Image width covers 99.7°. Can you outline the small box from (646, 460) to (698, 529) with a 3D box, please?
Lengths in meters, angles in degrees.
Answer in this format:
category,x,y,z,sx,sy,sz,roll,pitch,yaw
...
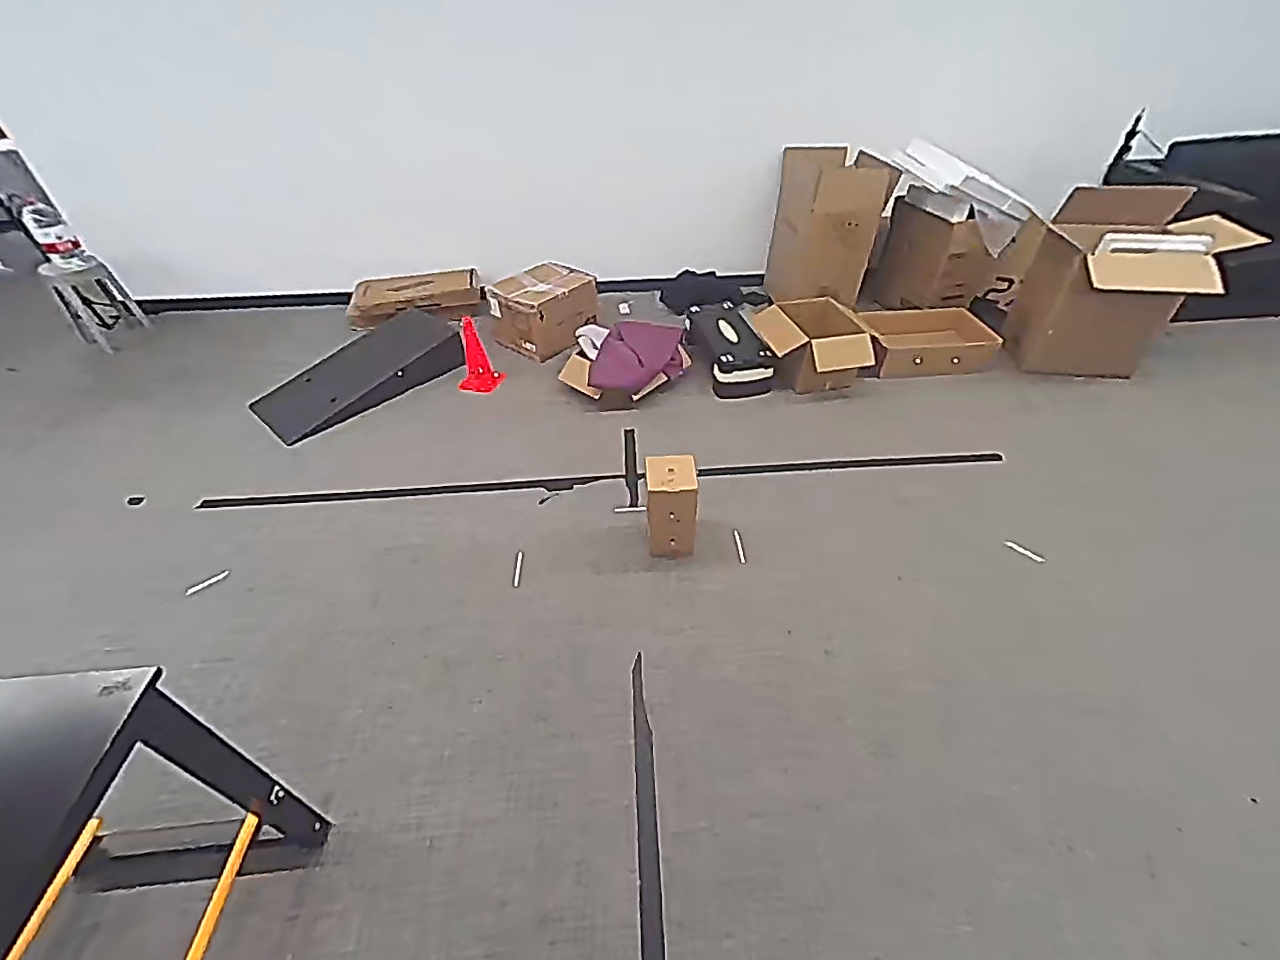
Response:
category,x,y,z,sx,sy,sz,roll,pitch,yaw
small box,0.105,0.050,1.848,0.168,0.176,0.179,-2,42,0

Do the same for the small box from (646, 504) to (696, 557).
category,x,y,z,sx,sy,sz,roll,pitch,yaw
small box,0.112,0.169,1.964,0.168,0.176,0.179,-3,42,-2
